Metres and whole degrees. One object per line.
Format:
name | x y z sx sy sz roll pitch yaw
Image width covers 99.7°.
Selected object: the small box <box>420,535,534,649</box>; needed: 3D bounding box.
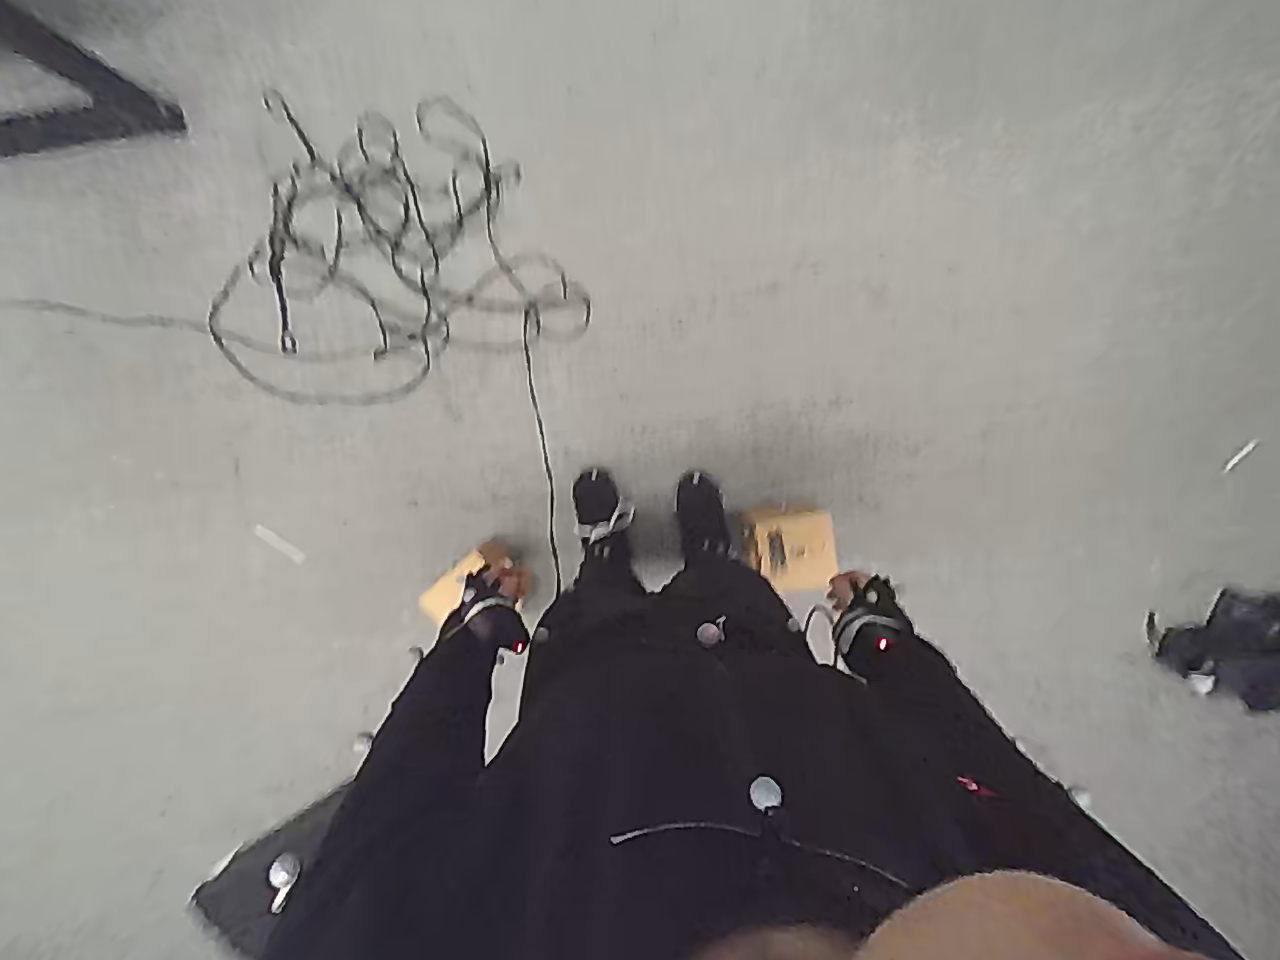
small box | -0.375 0.257 1.281 0.179 0.176 0.168 -40 96 4
